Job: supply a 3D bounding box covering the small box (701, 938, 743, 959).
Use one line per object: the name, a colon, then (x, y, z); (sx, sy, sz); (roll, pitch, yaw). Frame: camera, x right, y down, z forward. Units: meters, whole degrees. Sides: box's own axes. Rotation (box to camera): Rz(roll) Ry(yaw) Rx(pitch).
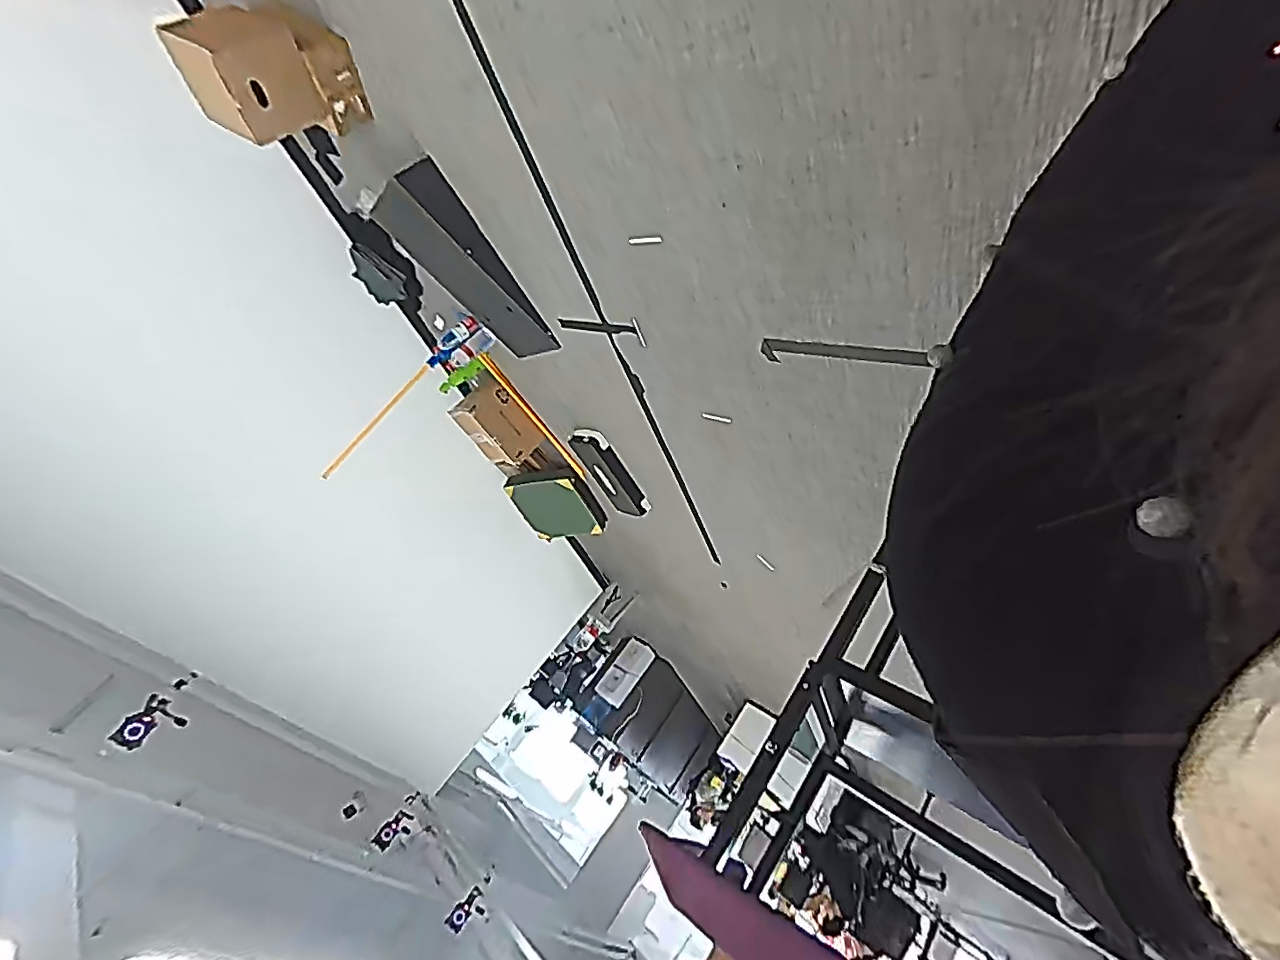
small box: (0.215, 1.281, 1.336); (0.179, 0.176, 0.168); (26, 153, 32)
